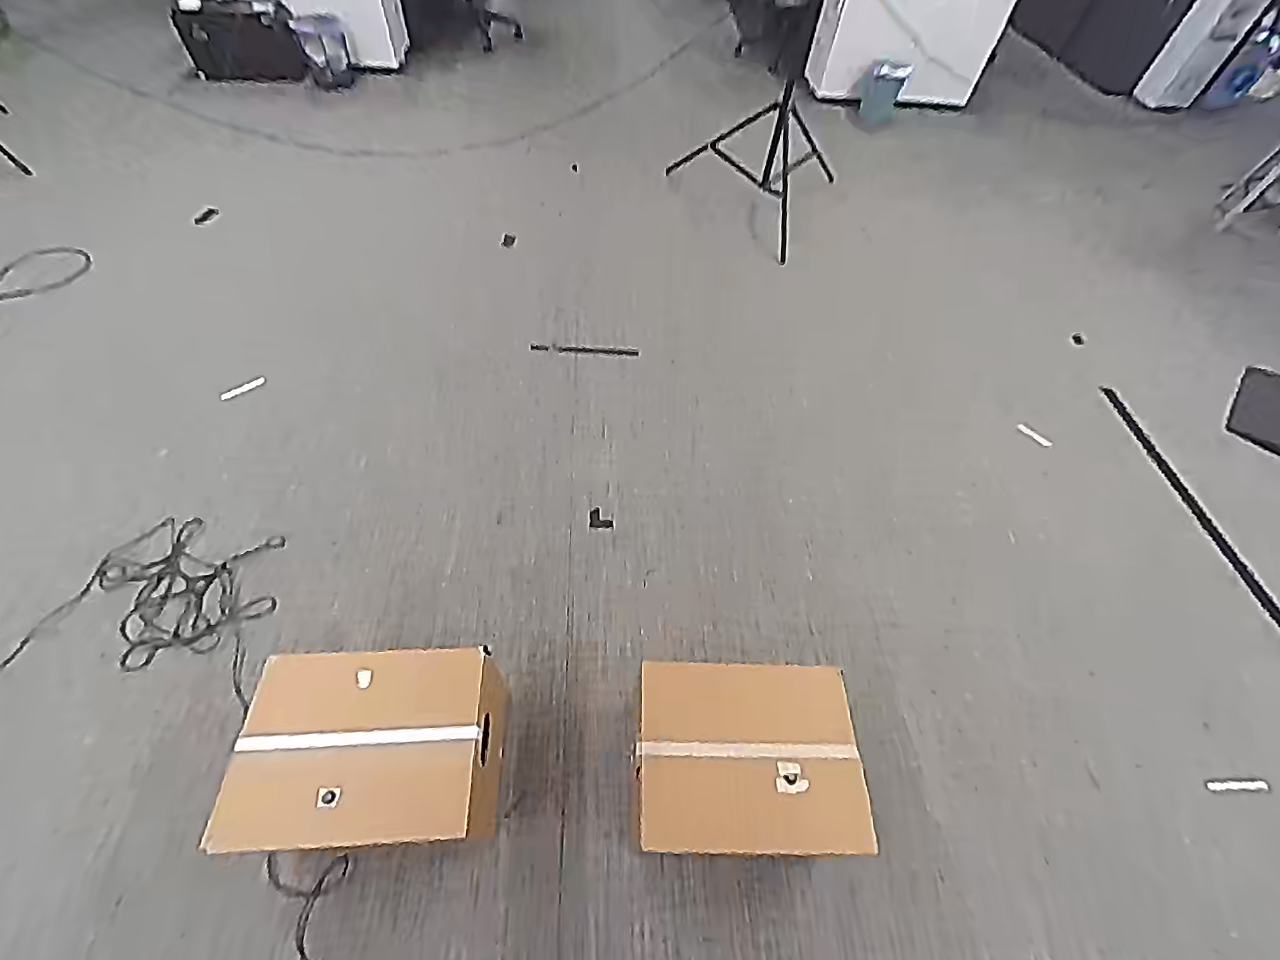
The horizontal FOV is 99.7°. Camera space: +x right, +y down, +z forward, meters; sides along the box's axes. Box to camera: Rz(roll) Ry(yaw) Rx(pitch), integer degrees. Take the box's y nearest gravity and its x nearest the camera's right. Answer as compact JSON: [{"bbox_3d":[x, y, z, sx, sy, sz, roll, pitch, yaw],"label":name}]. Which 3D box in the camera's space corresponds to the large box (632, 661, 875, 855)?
[{"bbox_3d":[0.193,0.582,1.118,0.408,0.320,0.320,3,55,-4],"label":"large box"}]
